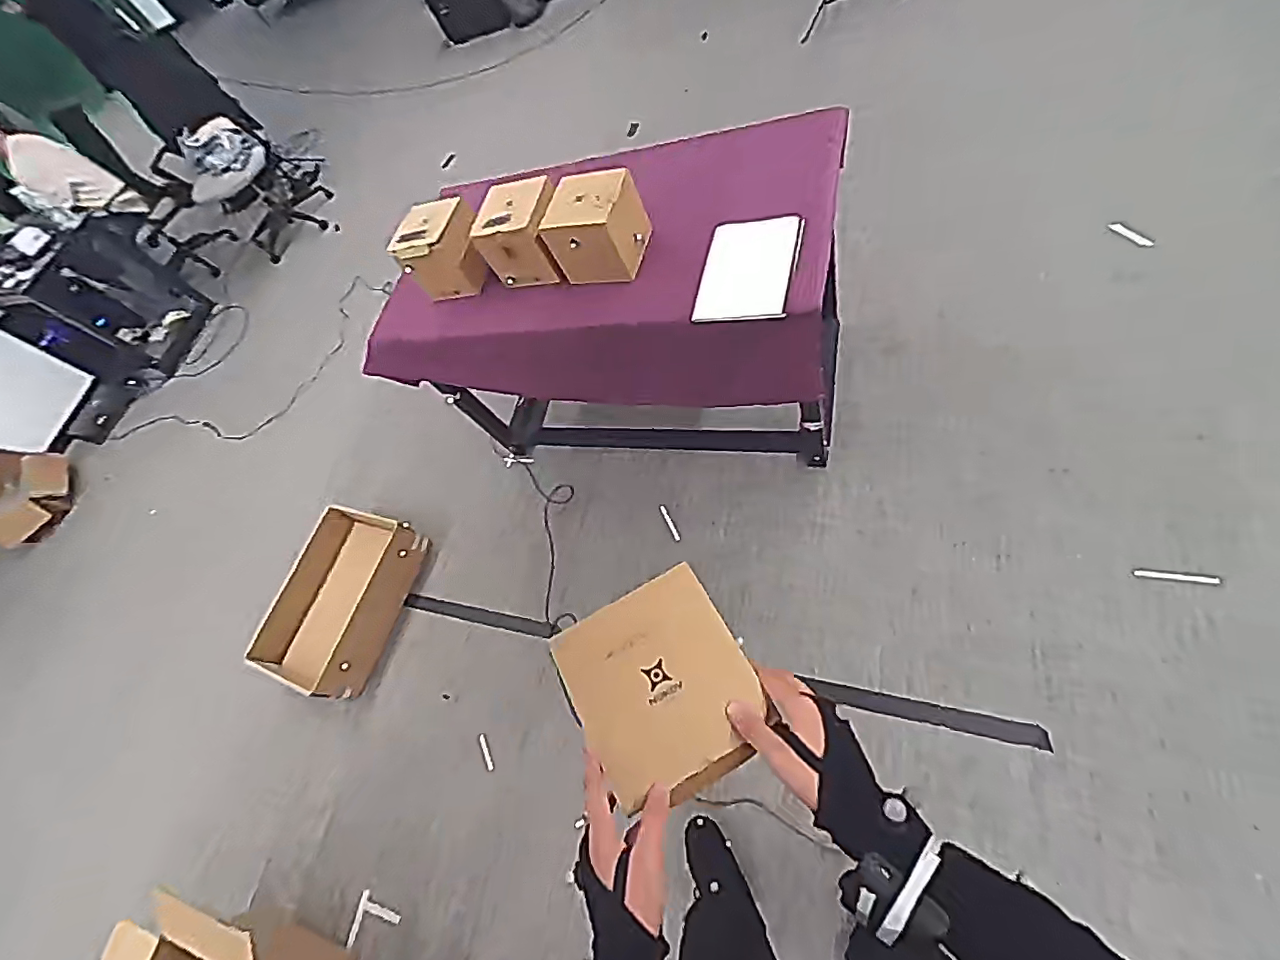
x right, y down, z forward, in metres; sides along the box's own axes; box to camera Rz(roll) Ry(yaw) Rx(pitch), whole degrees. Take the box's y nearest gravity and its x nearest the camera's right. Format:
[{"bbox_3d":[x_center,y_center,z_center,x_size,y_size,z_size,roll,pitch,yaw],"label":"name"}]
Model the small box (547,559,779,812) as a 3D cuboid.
[{"bbox_3d":[0.026,0.216,0.581,0.168,0.176,0.179,-28,65,-6],"label":"small box"}]
